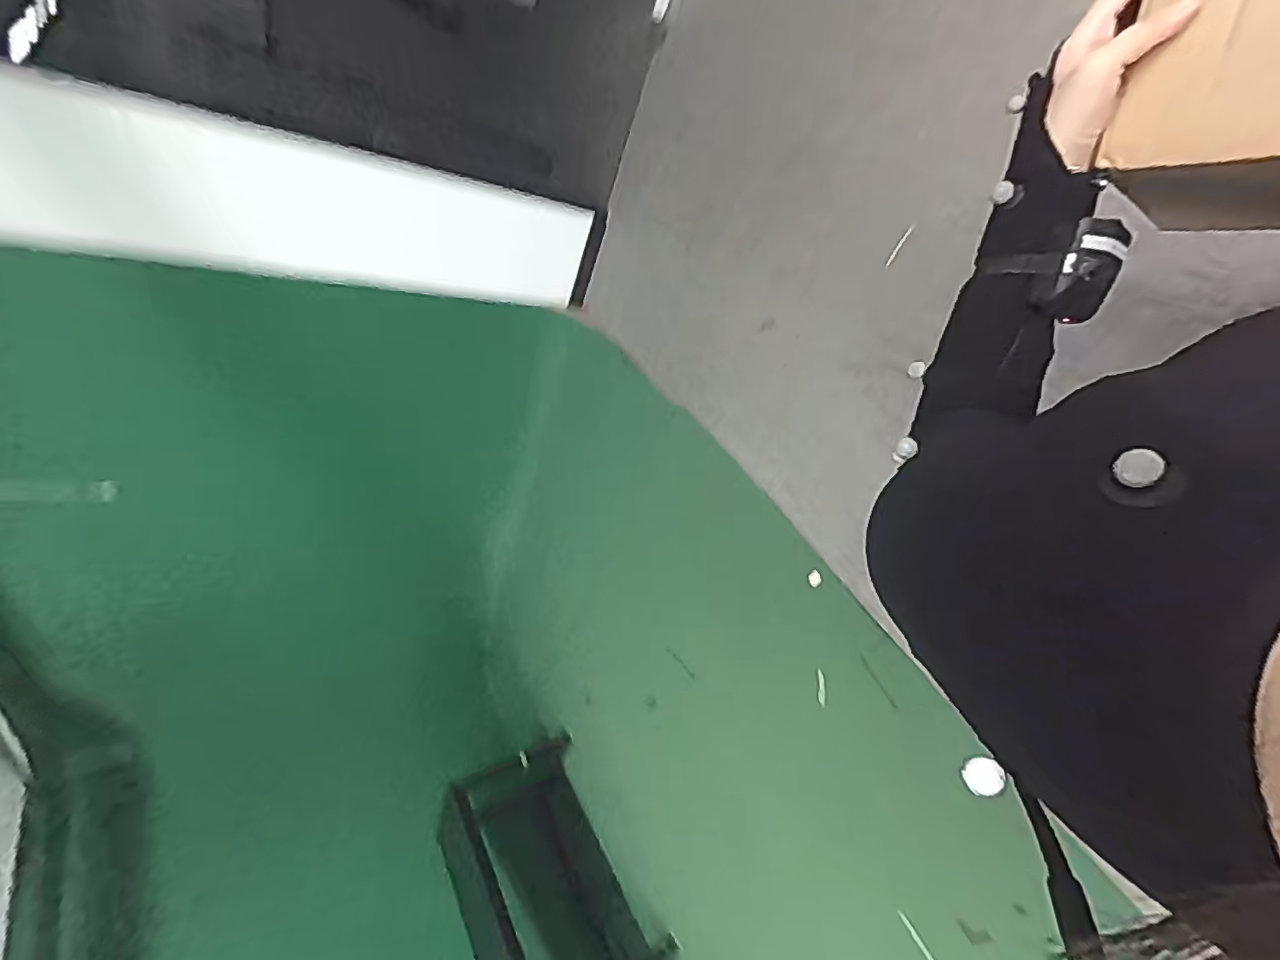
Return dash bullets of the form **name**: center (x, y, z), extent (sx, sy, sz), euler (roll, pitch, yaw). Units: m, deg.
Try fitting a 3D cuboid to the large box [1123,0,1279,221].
- **large box**: center (0.588, -0.342, 0.295), extent (0.408, 0.320, 0.320), euler (24, 117, 43)
